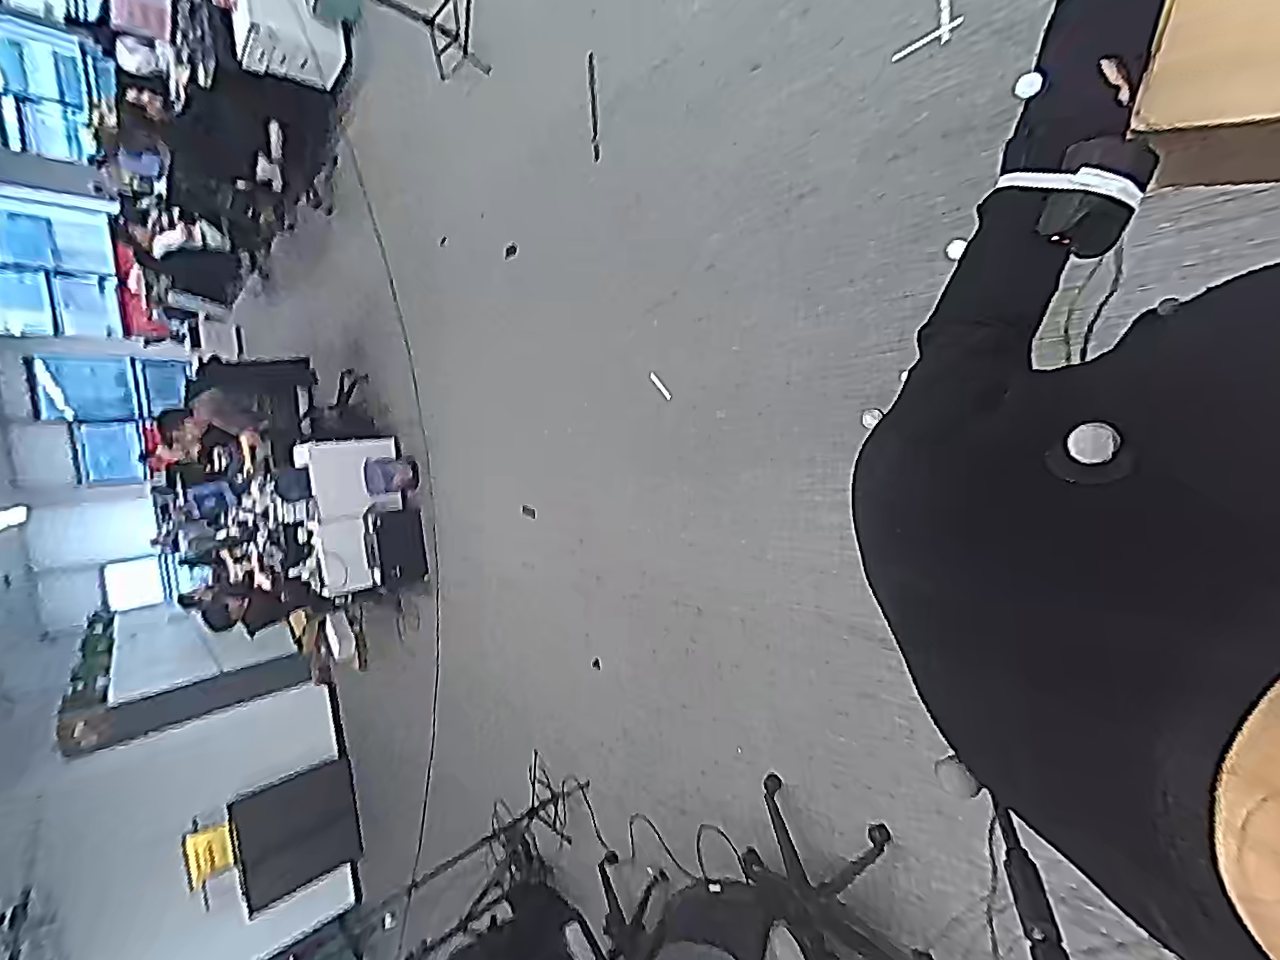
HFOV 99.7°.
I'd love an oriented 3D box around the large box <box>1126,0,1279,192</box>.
[{"bbox_3d":[0.591,-0.372,0.308,0.408,0.320,0.320,20,118,40],"label":"large box"}]
